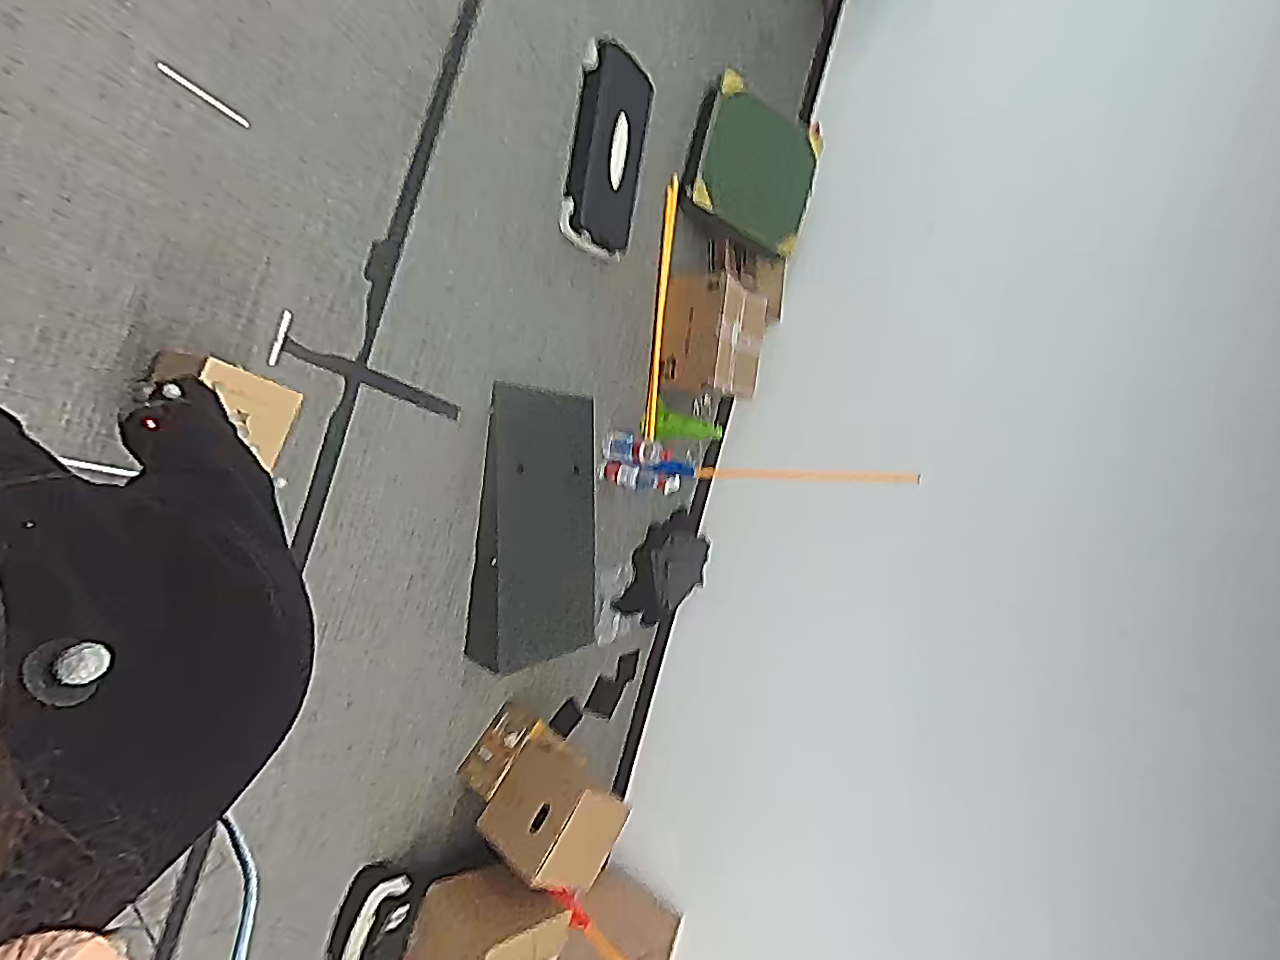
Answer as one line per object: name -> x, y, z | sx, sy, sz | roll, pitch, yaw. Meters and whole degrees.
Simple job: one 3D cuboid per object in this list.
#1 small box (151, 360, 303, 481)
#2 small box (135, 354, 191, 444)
small box -> -0.801, -0.117, 1.045 | 0.168, 0.176, 0.179 | 30, 76, -53
small box -> -0.926, -0.151, 1.145 | 0.168, 0.176, 0.179 | 25, 81, -53
